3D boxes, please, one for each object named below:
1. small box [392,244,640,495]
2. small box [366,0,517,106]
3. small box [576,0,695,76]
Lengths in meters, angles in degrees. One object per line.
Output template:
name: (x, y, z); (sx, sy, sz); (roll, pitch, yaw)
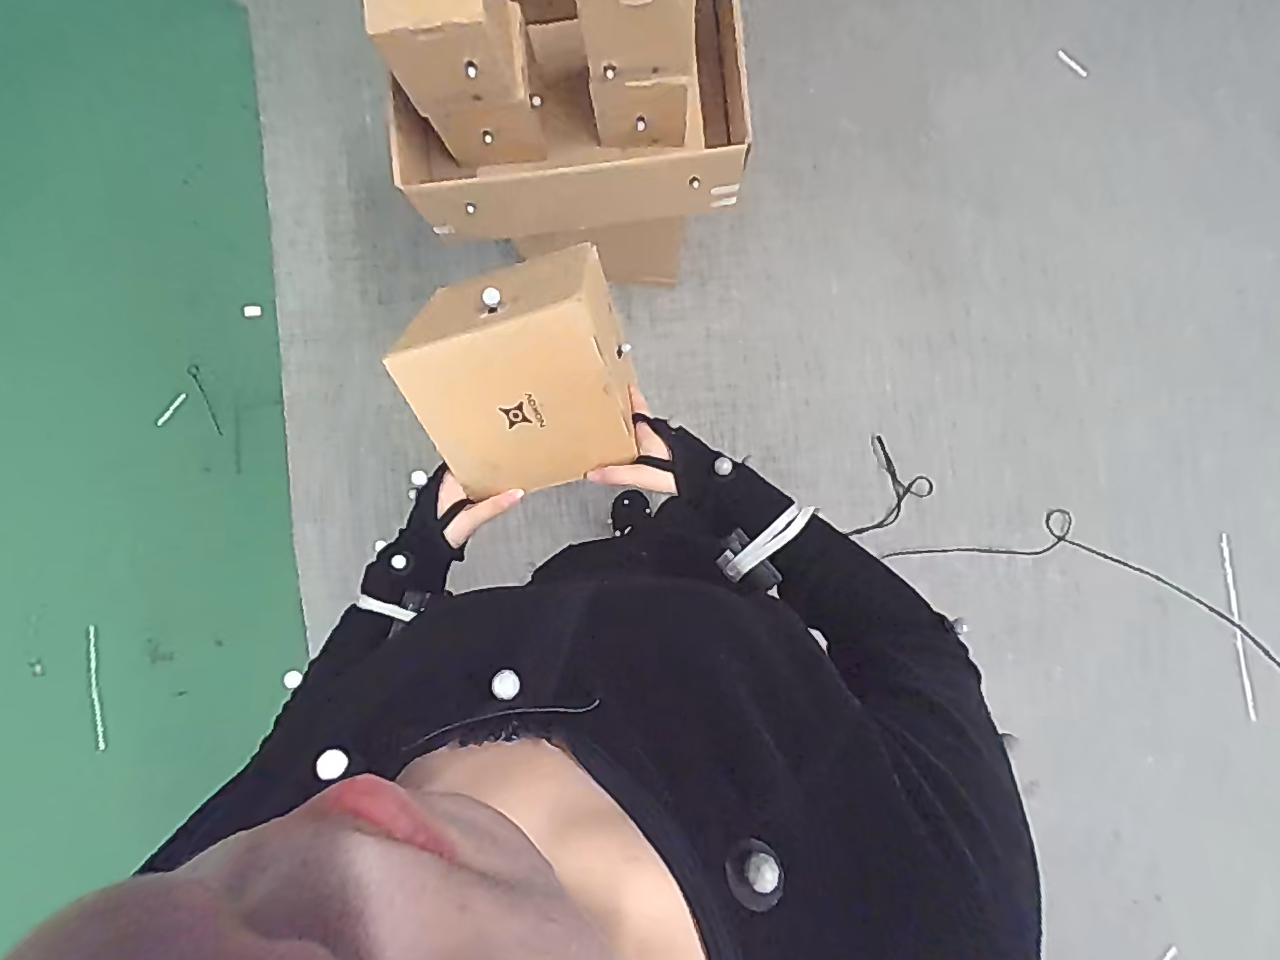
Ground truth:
small box: (-0.104, -0.113, 0.540); (0.179, 0.176, 0.168); (-14, 127, 7)
small box: (-0.289, -0.697, 0.810); (0.168, 0.176, 0.179); (-4, 89, 2)
small box: (-0.003, -0.735, 0.796); (0.168, 0.176, 0.179); (-2, 88, 3)
